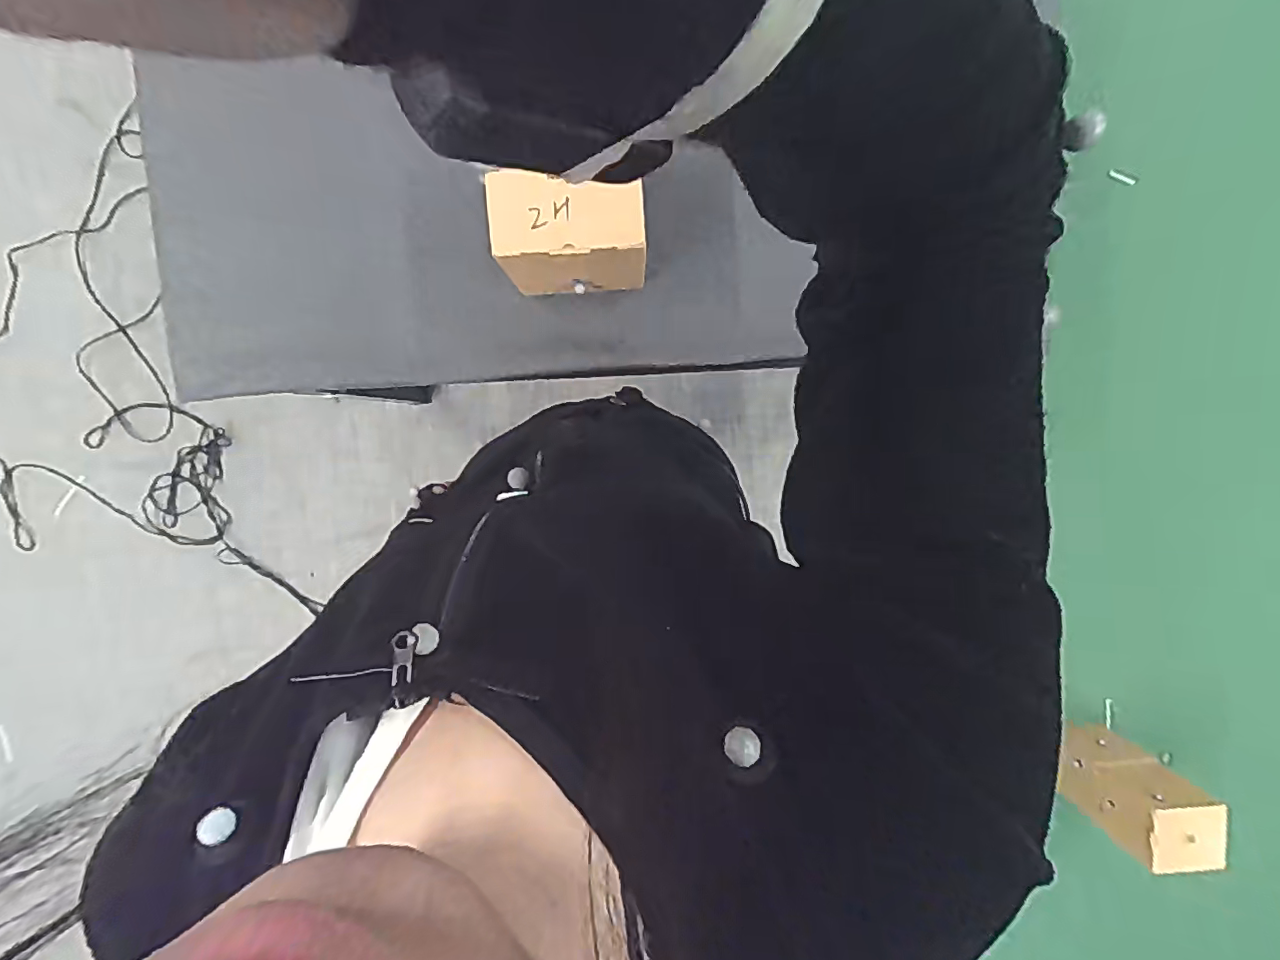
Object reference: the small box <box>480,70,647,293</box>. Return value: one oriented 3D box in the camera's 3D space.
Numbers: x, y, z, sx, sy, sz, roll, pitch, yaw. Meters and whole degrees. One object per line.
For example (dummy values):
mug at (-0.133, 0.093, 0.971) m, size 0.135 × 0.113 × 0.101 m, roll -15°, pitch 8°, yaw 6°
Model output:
small box at (-0.080, -0.336, 0.639) m, size 0.168 × 0.176 × 0.179 m, roll -4°, pitch 95°, yaw 0°

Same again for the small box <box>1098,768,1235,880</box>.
small box at (1.287, 0.838, 1.331) m, size 0.179 × 0.176 × 0.168 m, roll -4°, pitch 95°, yaw -1°
